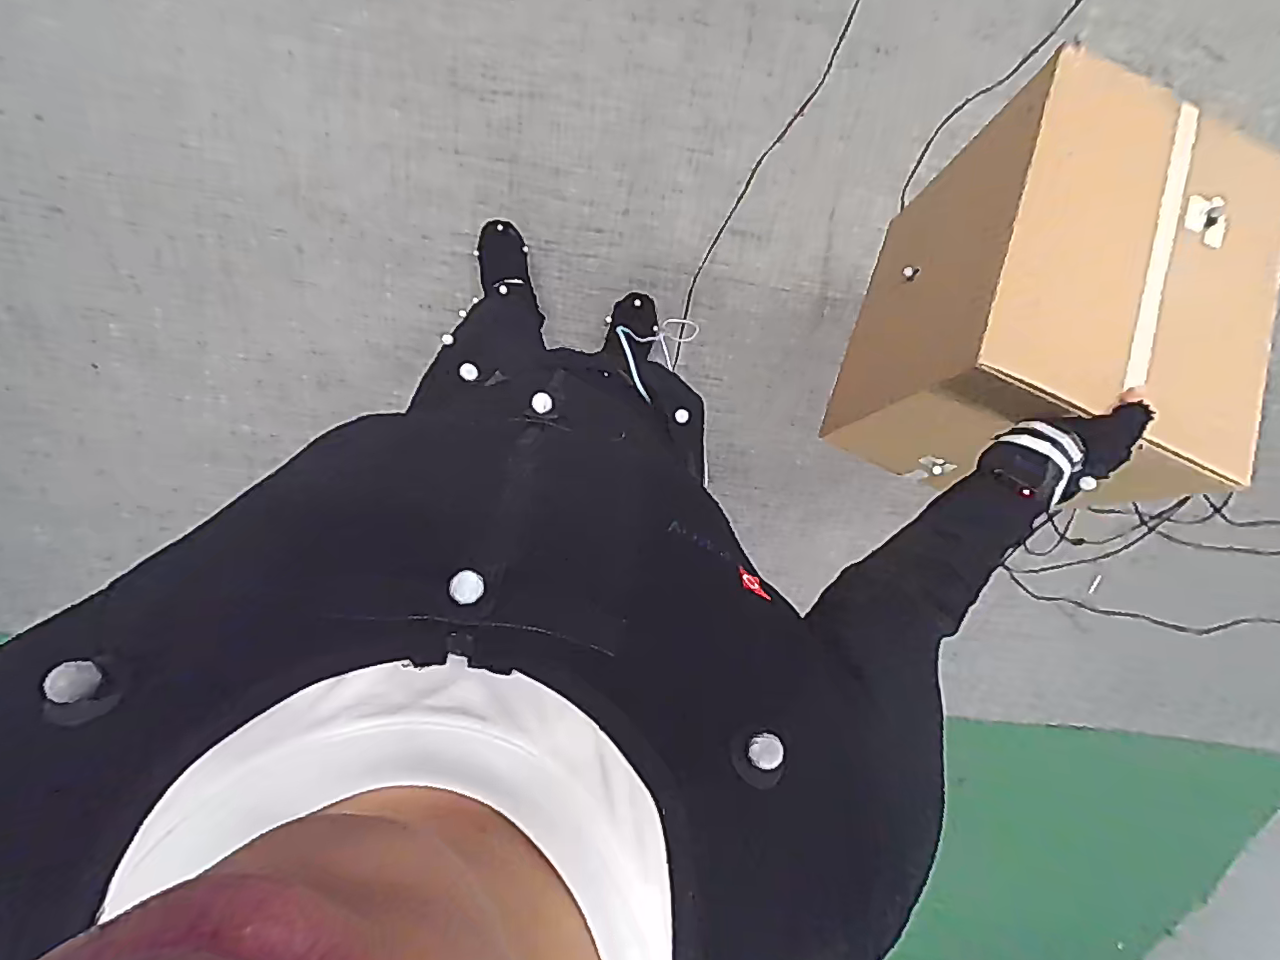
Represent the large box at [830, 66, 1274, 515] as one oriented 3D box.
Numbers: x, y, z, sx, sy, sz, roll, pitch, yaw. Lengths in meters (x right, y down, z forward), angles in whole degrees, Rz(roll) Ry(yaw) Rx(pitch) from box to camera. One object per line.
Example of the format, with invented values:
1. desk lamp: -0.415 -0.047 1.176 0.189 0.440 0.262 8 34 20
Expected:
1. large box: 0.507 -0.204 0.720 0.320 0.320 0.408 23 77 -5
